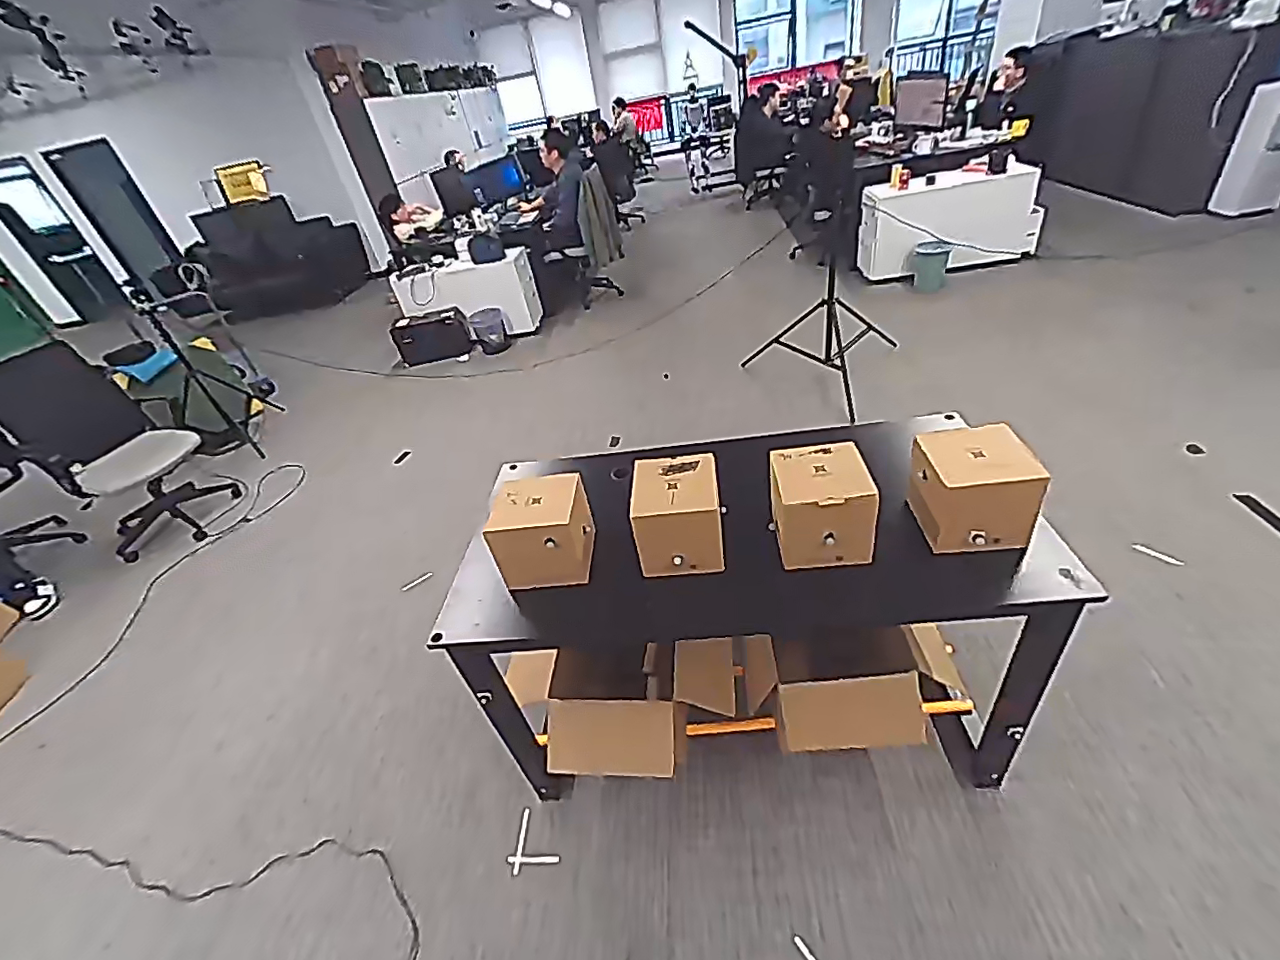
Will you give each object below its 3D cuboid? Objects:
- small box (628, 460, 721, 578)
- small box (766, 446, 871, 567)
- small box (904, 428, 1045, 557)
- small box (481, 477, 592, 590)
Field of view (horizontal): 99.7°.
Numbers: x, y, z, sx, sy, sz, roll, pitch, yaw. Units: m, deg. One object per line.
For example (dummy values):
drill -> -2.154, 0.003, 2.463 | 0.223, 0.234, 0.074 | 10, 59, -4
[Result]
small box -> 0.075, 0.080, 1.112 | 0.168, 0.176, 0.179 | -6, 37, 9
small box -> 0.346, 0.057, 1.066 | 0.168, 0.176, 0.179 | -6, 37, 8
small box -> 0.620, 0.024, 1.031 | 0.168, 0.176, 0.179 | -7, 36, 10
small box -> -0.206, 0.114, 1.144 | 0.179, 0.176, 0.168 | -6, 36, 7
